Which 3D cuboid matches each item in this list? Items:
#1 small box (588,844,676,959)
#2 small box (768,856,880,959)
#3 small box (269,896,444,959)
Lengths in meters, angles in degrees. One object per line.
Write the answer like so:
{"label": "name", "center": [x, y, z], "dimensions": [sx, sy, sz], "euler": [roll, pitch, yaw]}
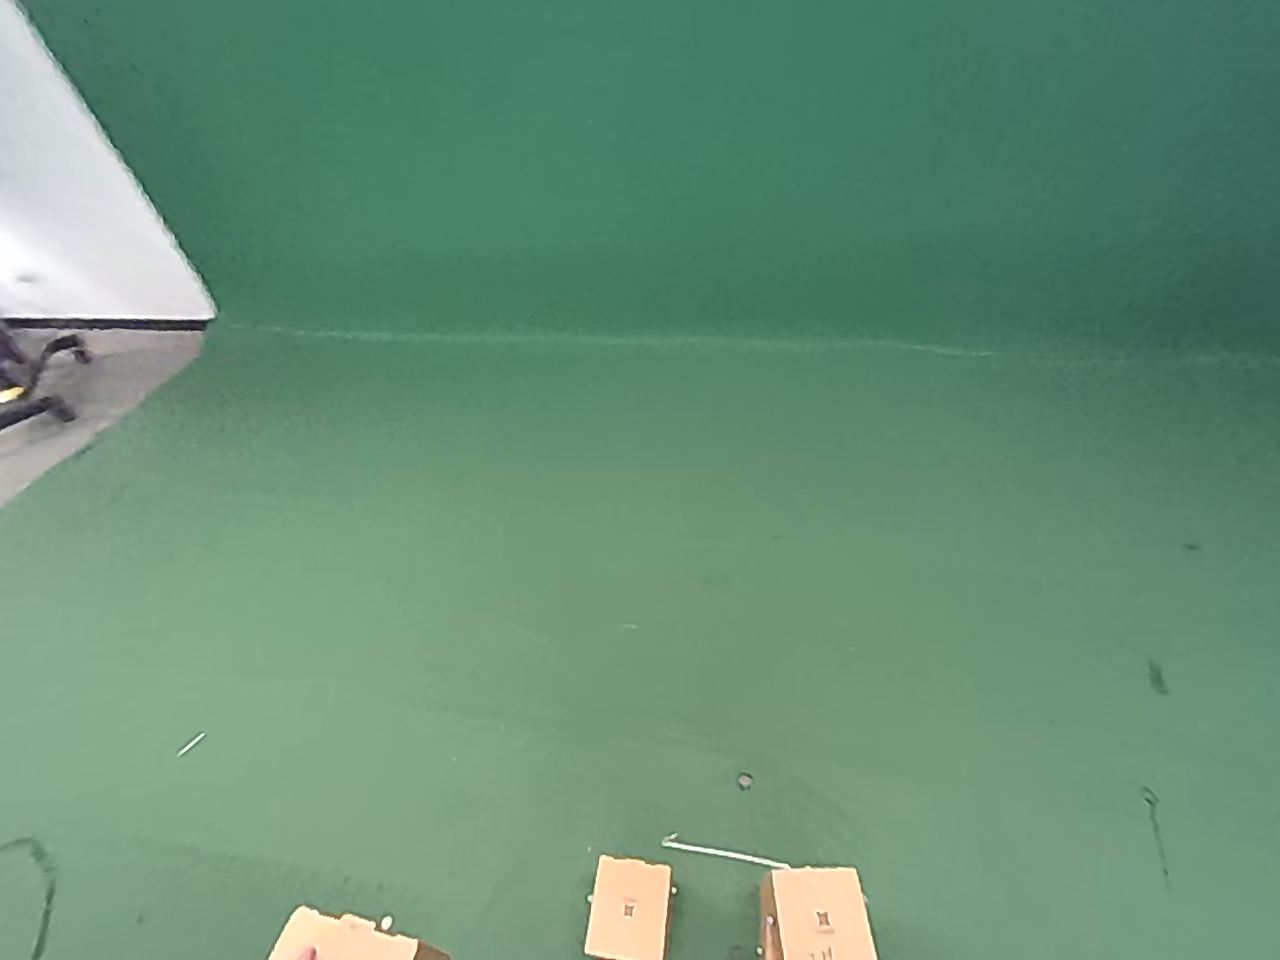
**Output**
{"label": "small box", "center": [-0.009, 0.962, 1.231], "dimensions": [0.168, 0.176, 0.179], "euler": [3, 46, 10]}
{"label": "small box", "center": [0.349, 0.857, 1.057], "dimensions": [0.168, 0.176, 0.179], "euler": [-3, 47, 4]}
{"label": "small box", "center": [-0.357, 0.643, 0.652], "dimensions": [0.168, 0.176, 0.179], "euler": [8, 45, 9]}
